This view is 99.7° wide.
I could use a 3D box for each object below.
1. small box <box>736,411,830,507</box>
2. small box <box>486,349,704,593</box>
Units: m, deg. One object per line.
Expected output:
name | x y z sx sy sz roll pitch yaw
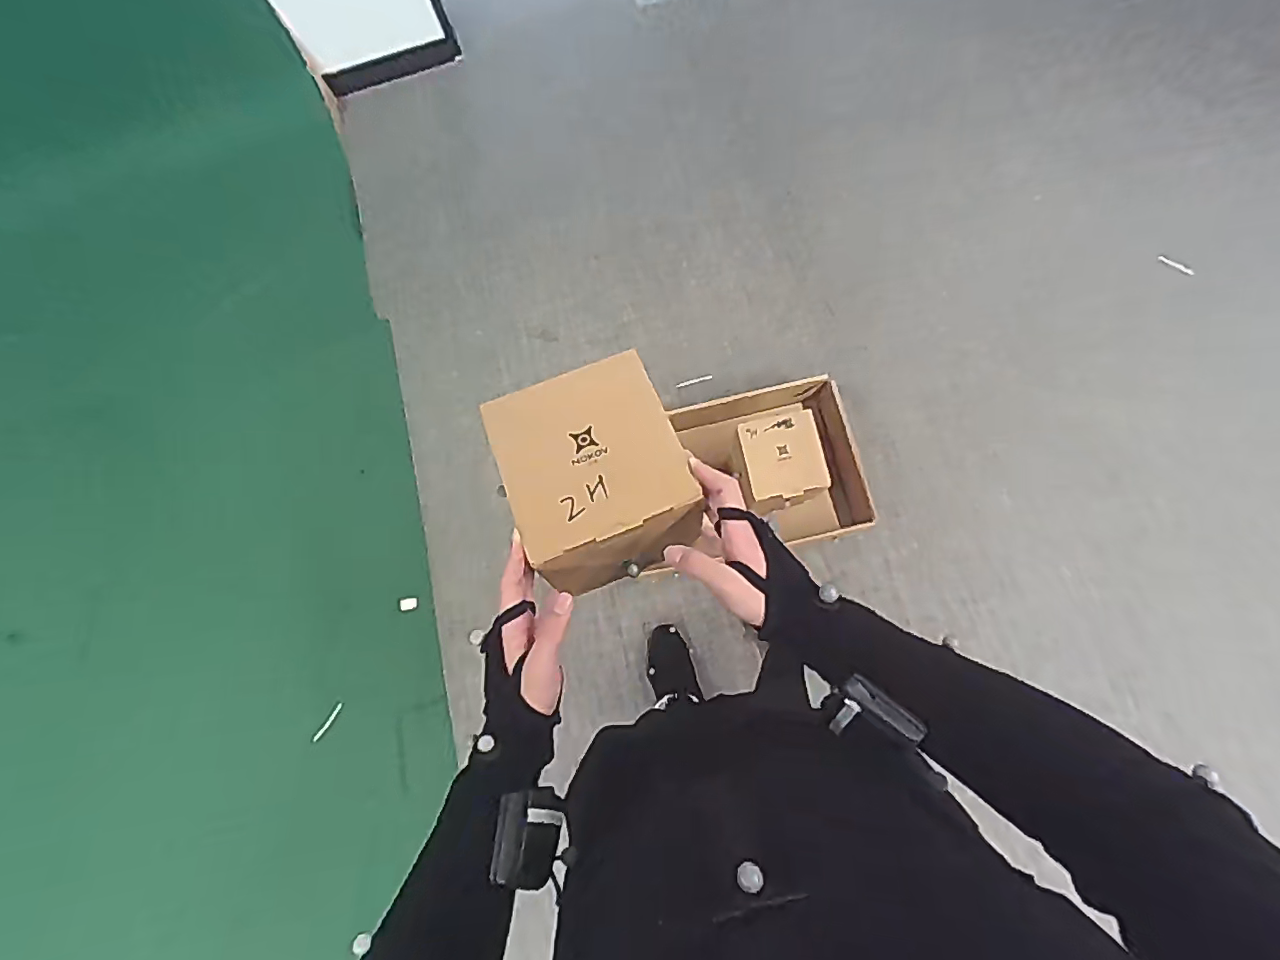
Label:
small box | 0.318 -0.038 1.232 0.168 0.176 0.179 -11 79 4
small box | -0.042 -0.001 0.576 0.168 0.176 0.179 -21 67 -3
